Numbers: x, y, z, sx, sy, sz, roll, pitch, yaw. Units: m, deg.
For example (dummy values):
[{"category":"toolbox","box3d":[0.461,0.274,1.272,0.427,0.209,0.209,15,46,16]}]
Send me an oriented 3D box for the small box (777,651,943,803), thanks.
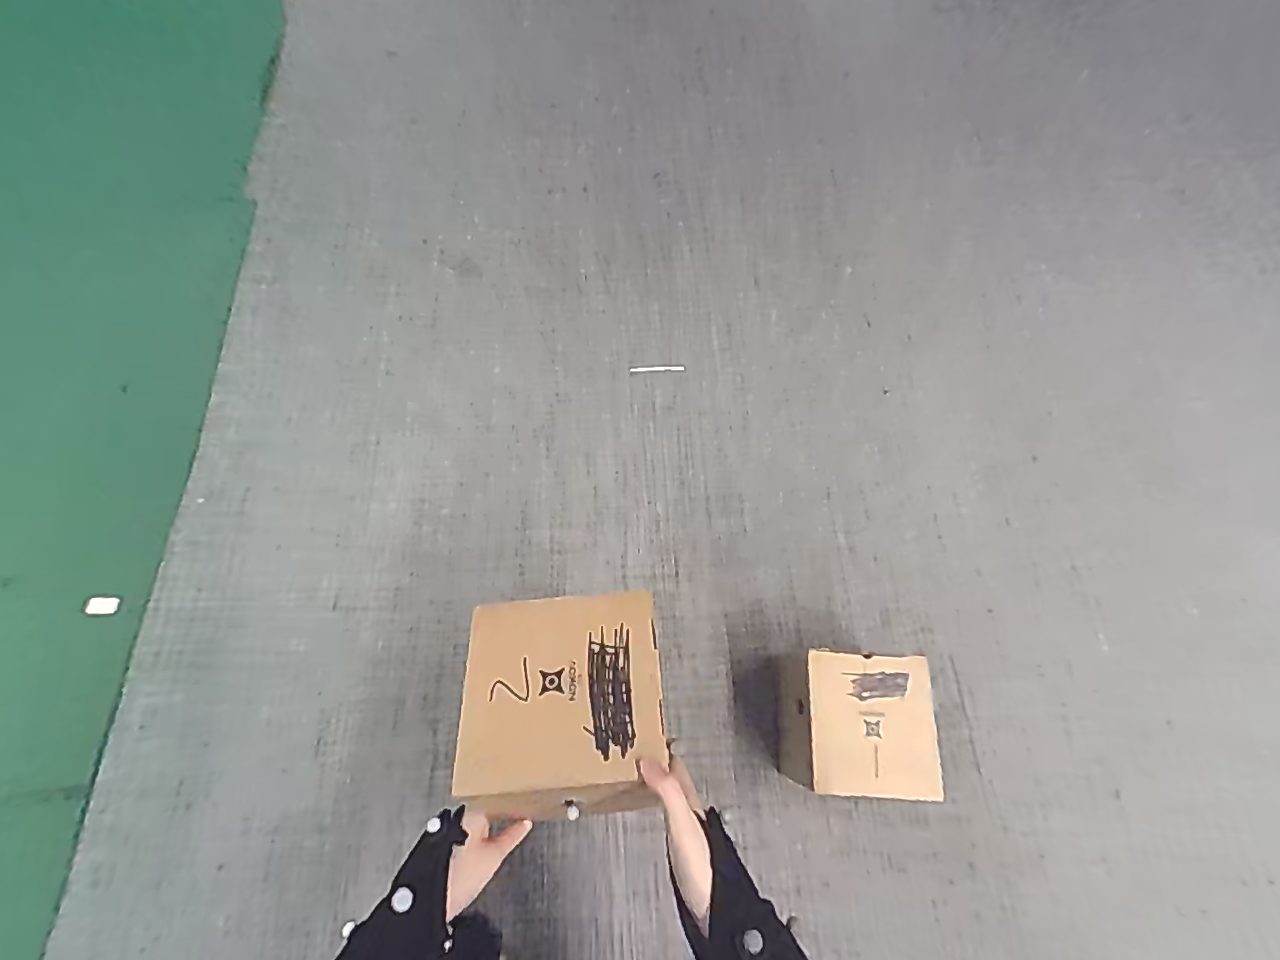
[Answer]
[{"category":"small box","box3d":[0.299,0.347,0.779,0.168,0.176,0.179,3,69,0]}]
